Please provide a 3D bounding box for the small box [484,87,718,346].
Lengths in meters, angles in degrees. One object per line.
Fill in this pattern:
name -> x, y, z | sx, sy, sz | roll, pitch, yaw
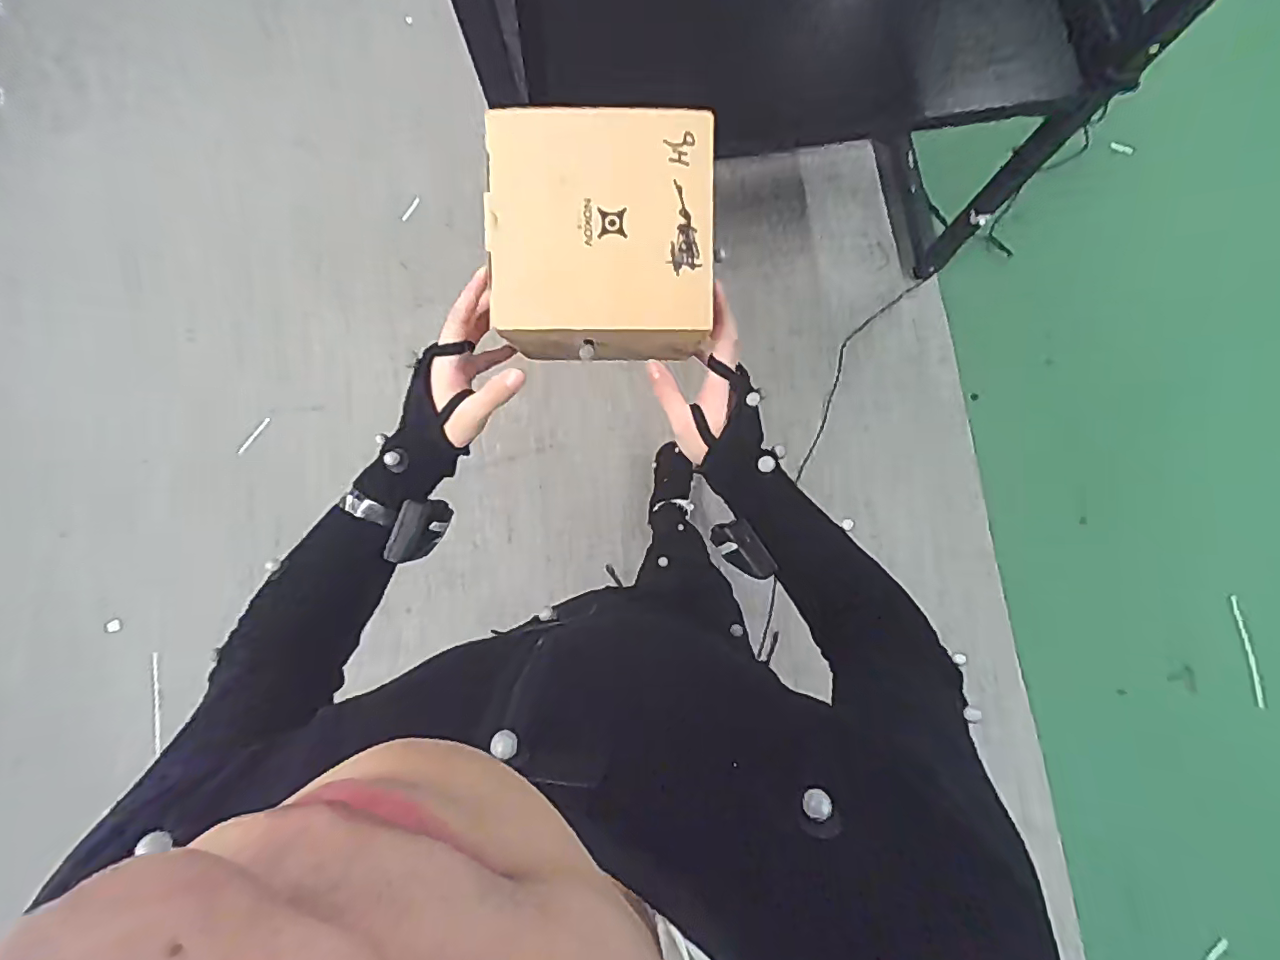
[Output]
small box -> -0.029, -0.215, 0.486 | 0.179, 0.176, 0.168 | -1, 96, -1
